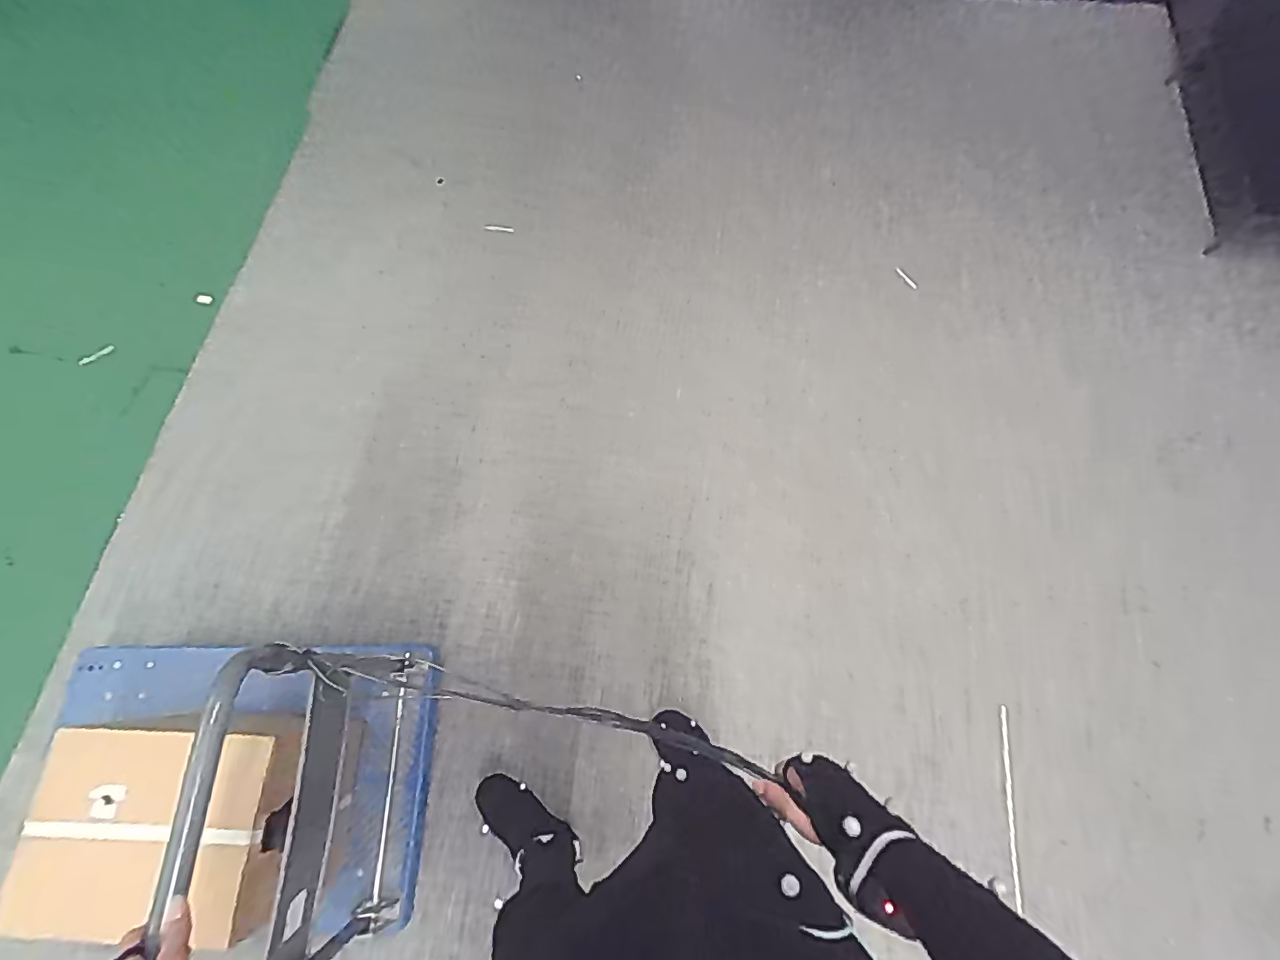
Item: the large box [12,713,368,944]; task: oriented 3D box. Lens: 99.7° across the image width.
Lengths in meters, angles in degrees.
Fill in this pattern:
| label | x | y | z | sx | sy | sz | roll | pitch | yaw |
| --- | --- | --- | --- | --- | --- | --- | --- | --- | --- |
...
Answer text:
| label | x | y | z | sx | sy | sz | roll | pitch | yaw |
| --- | --- | --- | --- | --- | --- | --- | --- | --- | --- |
| large box | -0.826 | 0.645 | 1.066 | 0.408 | 0.320 | 0.320 | 1 | 71 | 3 |
